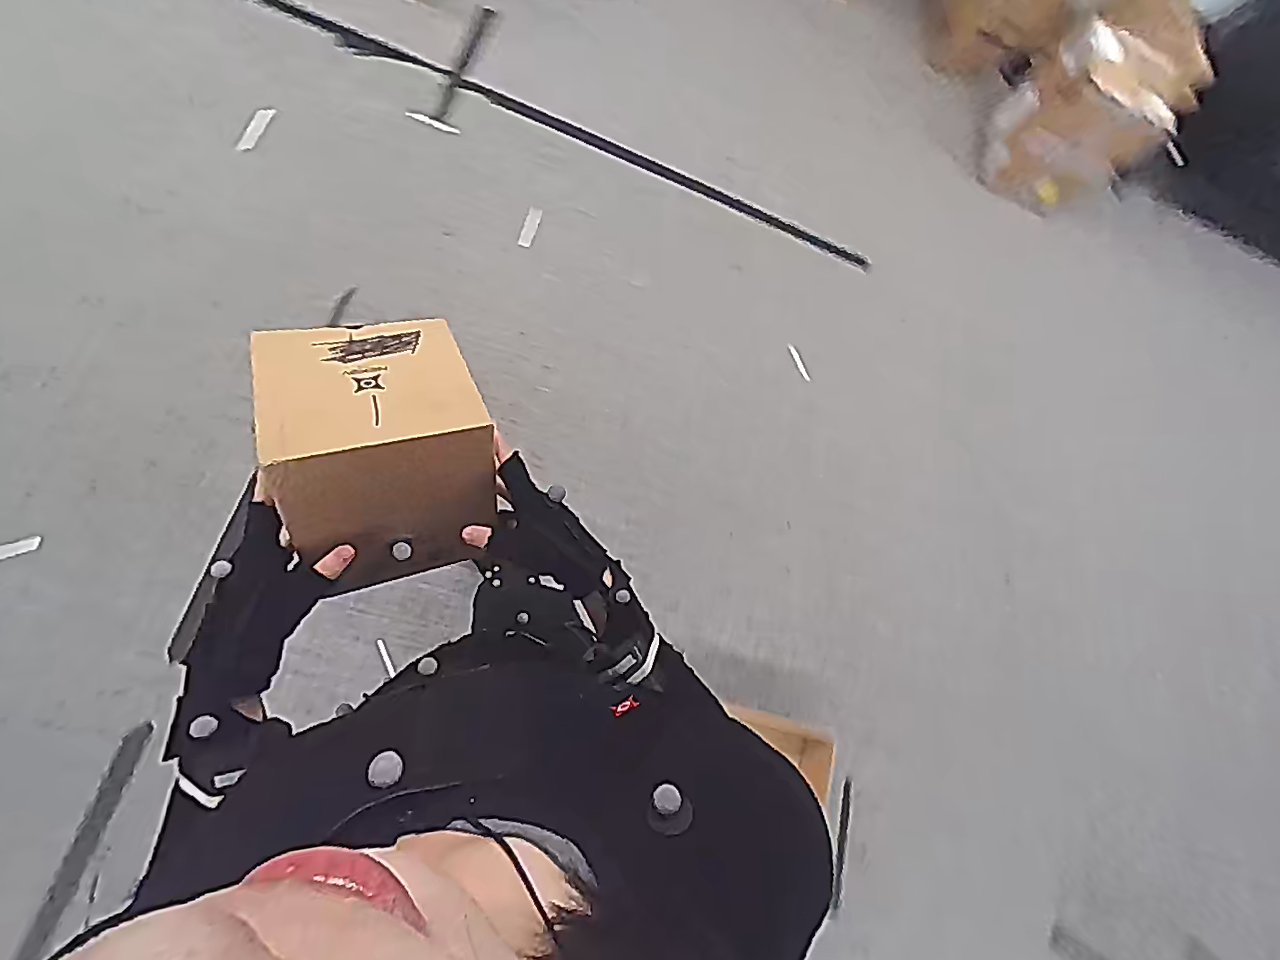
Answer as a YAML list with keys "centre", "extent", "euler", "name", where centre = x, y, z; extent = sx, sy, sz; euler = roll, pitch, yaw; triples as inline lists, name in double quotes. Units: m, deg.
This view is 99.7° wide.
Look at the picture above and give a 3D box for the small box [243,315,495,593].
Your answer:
- centre: [-0.239, -0.029, 0.496]
  extent: [0.168, 0.176, 0.179]
  euler: [-15, 49, -25]
  name: "small box"
